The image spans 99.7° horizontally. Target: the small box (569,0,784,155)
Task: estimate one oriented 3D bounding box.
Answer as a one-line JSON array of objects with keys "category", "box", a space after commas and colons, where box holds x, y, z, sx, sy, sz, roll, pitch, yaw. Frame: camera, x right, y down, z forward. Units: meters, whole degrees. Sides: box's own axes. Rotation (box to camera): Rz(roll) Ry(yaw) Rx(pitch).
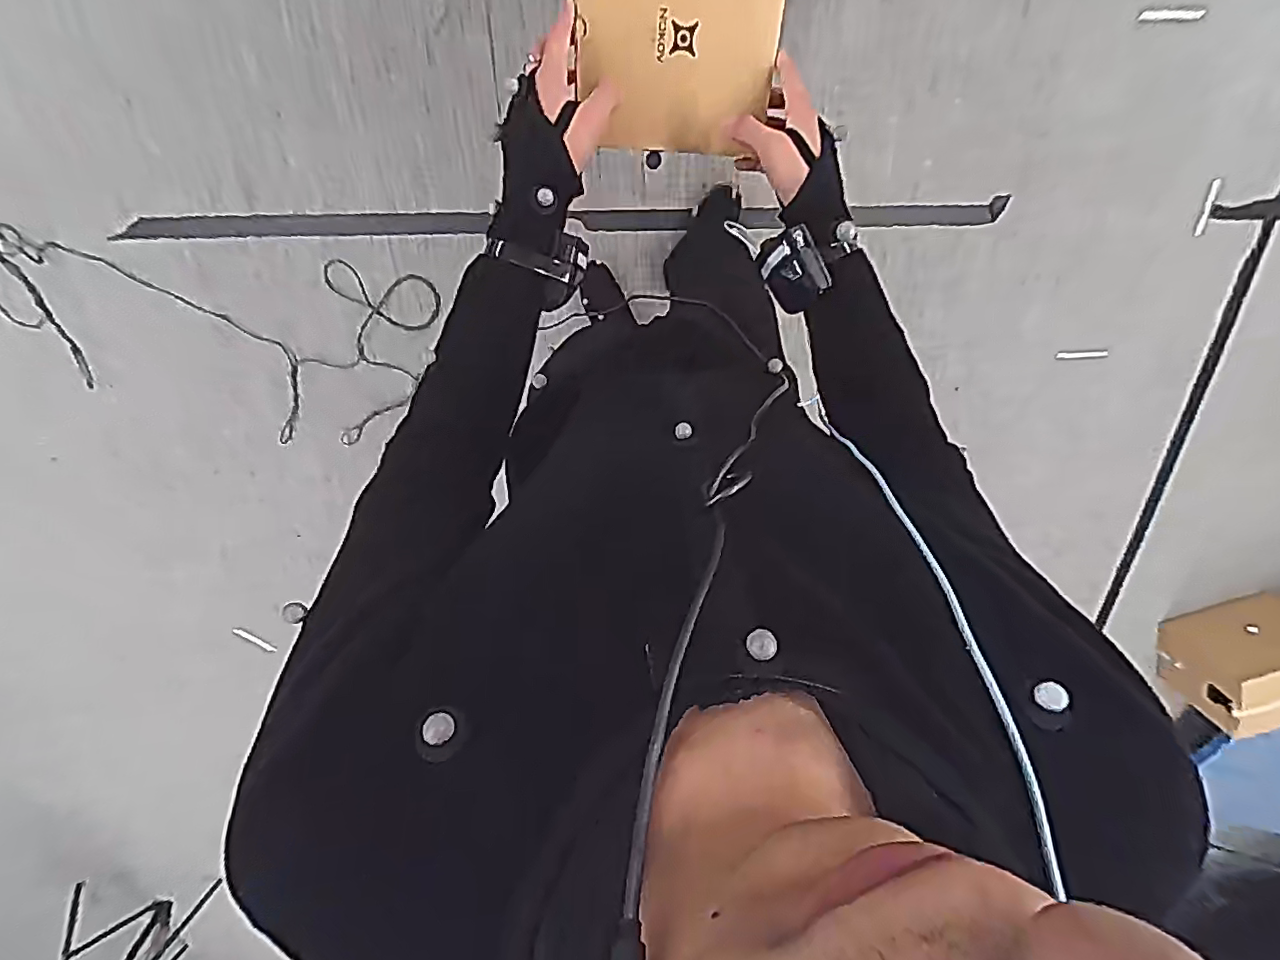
[{"category": "small box", "box": [0.022, -0.419, 0.515, 0.179, 0.176, 0.168, 0, 125, -7]}]
